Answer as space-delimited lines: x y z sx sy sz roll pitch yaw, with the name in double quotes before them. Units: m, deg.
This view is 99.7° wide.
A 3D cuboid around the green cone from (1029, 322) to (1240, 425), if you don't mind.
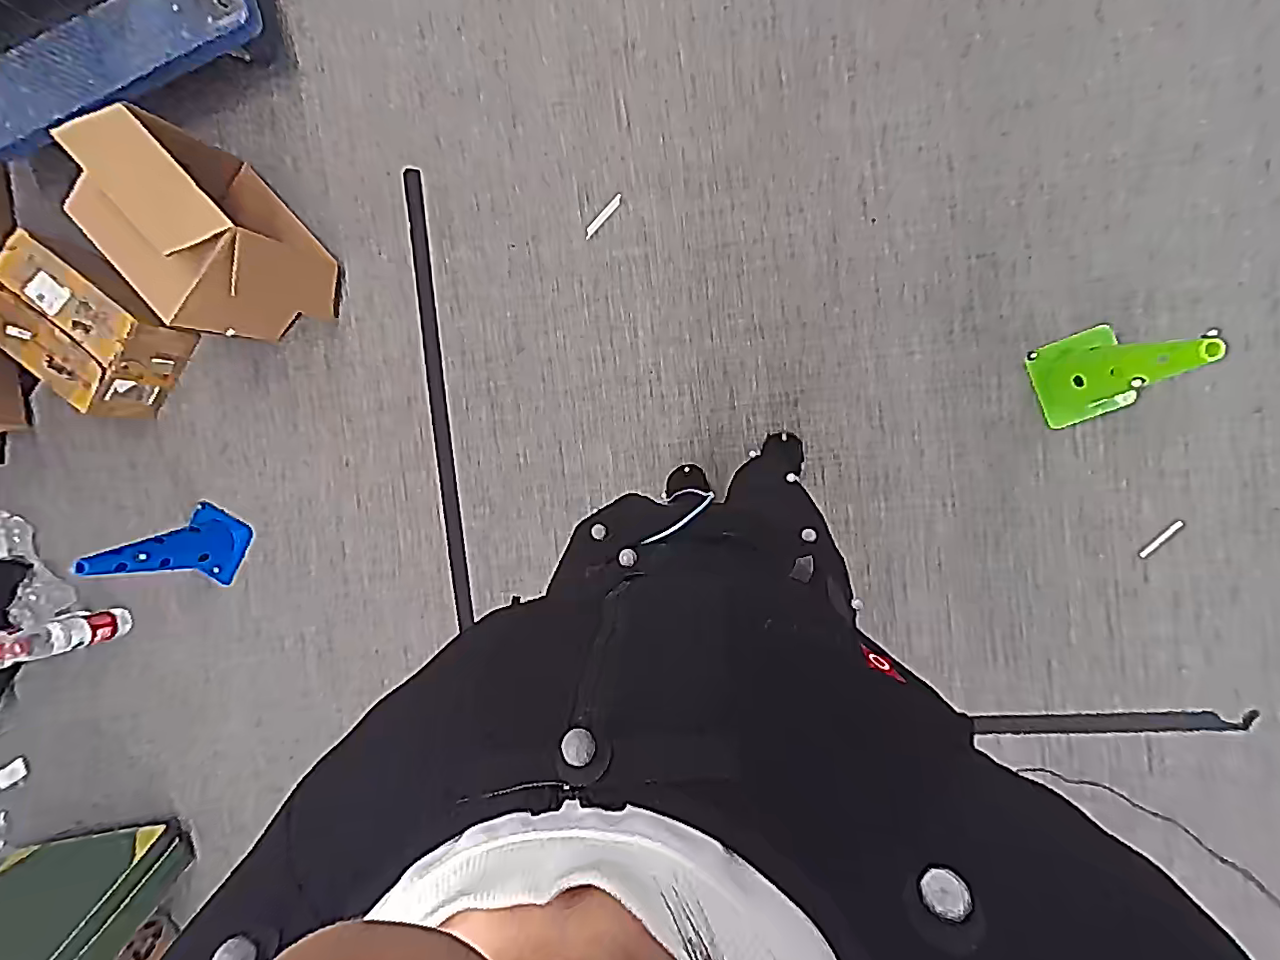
"green cone" 1.029 -0.241 1.109 0.202 0.368 0.200 -21 91 7
